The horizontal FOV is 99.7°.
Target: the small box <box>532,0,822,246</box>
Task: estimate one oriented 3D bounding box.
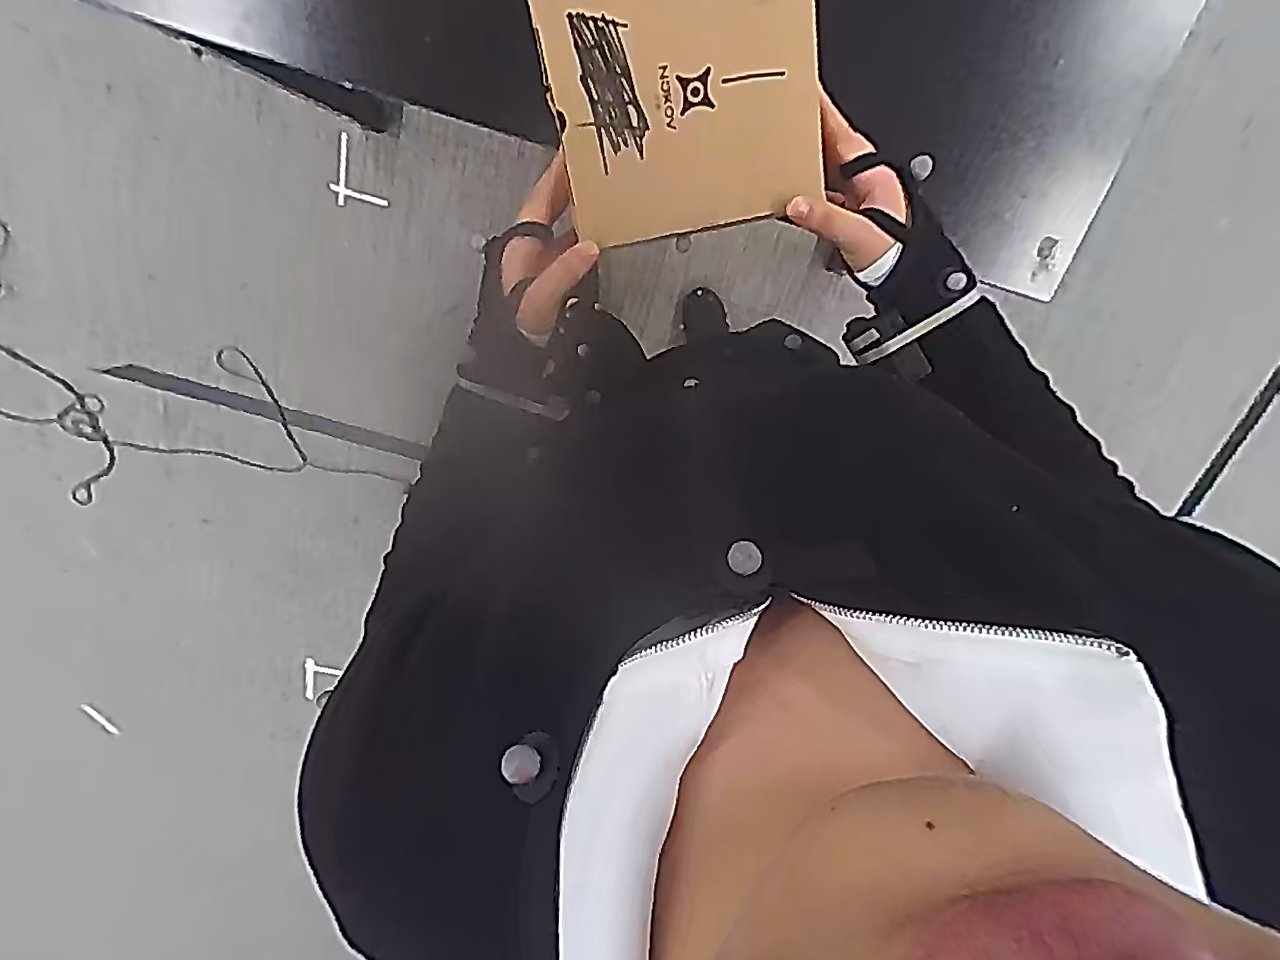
[{"bbox_3d":[0.032,-0.286,0.426,0.179,0.176,0.168,-8,113,6],"label":"small box"}]

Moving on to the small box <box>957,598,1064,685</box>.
[{"bbox_3d":[1.116,0.485,1.649,0.179,0.176,0.168,17,111,-5],"label":"small box"}]
